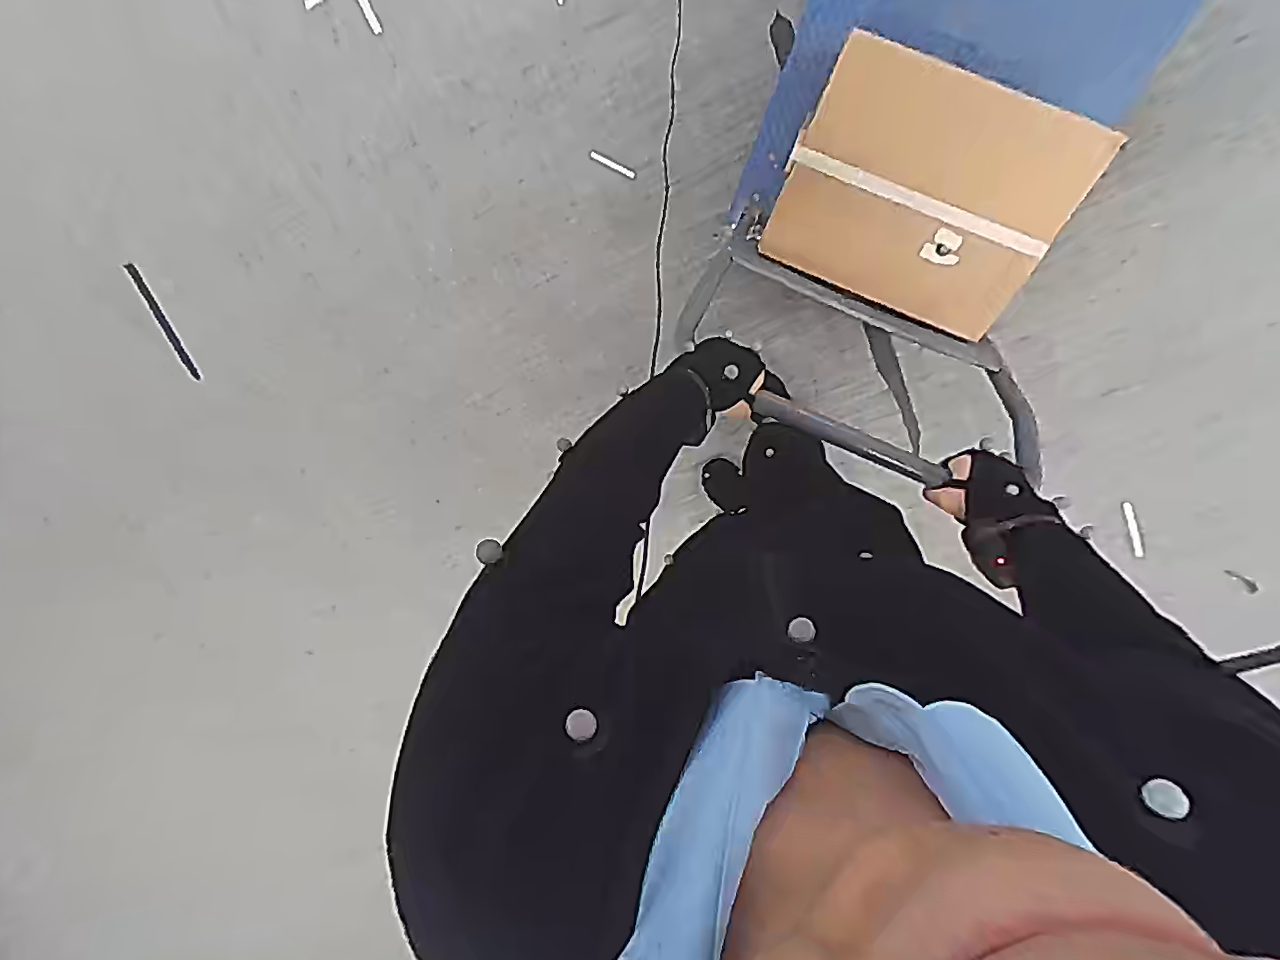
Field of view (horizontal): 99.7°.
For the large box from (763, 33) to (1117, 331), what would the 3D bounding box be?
[{"bbox_3d":[0.471,-0.520,0.962,0.408,0.320,0.320,23,127,2],"label":"large box"}]
